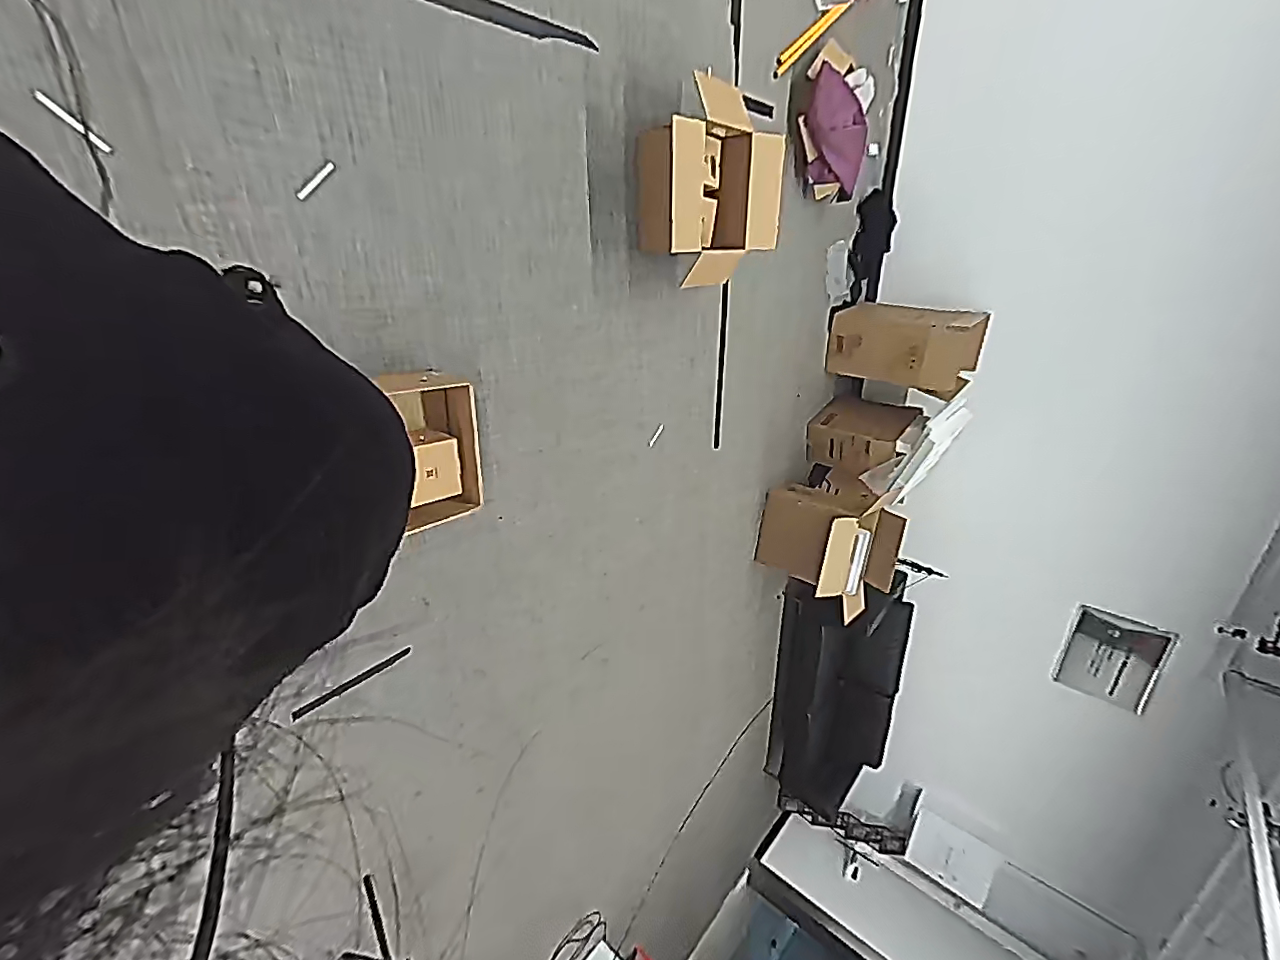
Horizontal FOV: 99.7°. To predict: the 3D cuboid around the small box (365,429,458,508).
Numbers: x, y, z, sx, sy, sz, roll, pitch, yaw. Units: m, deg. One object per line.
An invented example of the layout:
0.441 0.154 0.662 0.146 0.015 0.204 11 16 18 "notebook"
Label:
-0.636 -0.040 1.513 0.179 0.176 0.168 -20 118 -44 "small box"
